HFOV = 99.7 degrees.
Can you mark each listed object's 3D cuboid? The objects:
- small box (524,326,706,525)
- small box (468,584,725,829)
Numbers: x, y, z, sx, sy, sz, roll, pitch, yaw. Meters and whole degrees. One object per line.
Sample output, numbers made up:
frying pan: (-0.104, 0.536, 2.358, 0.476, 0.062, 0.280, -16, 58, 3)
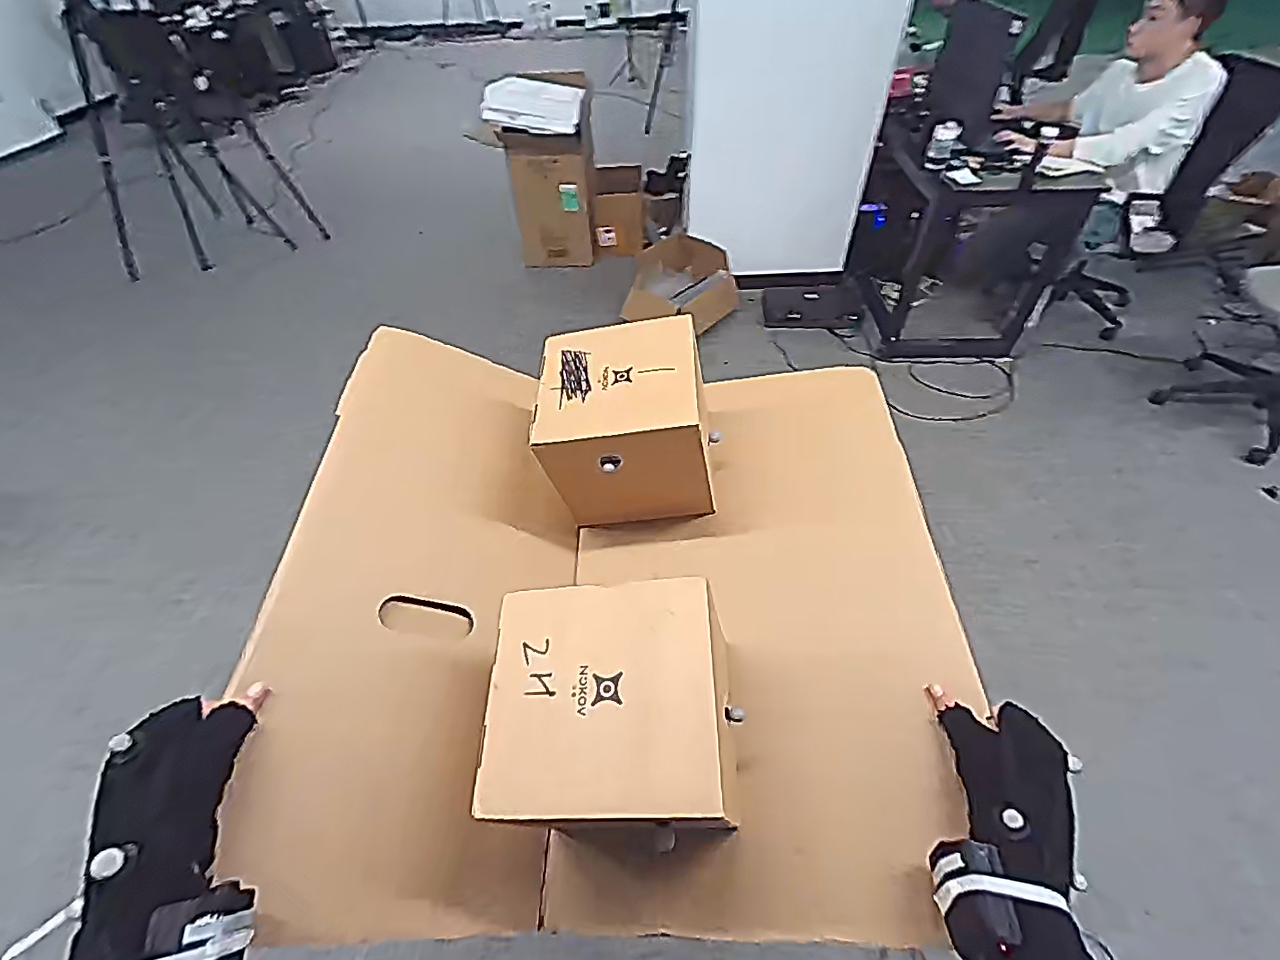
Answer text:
small box: (-0.019, -0.057, 0.655, 0.179, 0.176, 0.168, -6, 55, 9)
small box: (-0.020, 0.204, 0.474, 0.179, 0.176, 0.168, -7, 55, 11)
